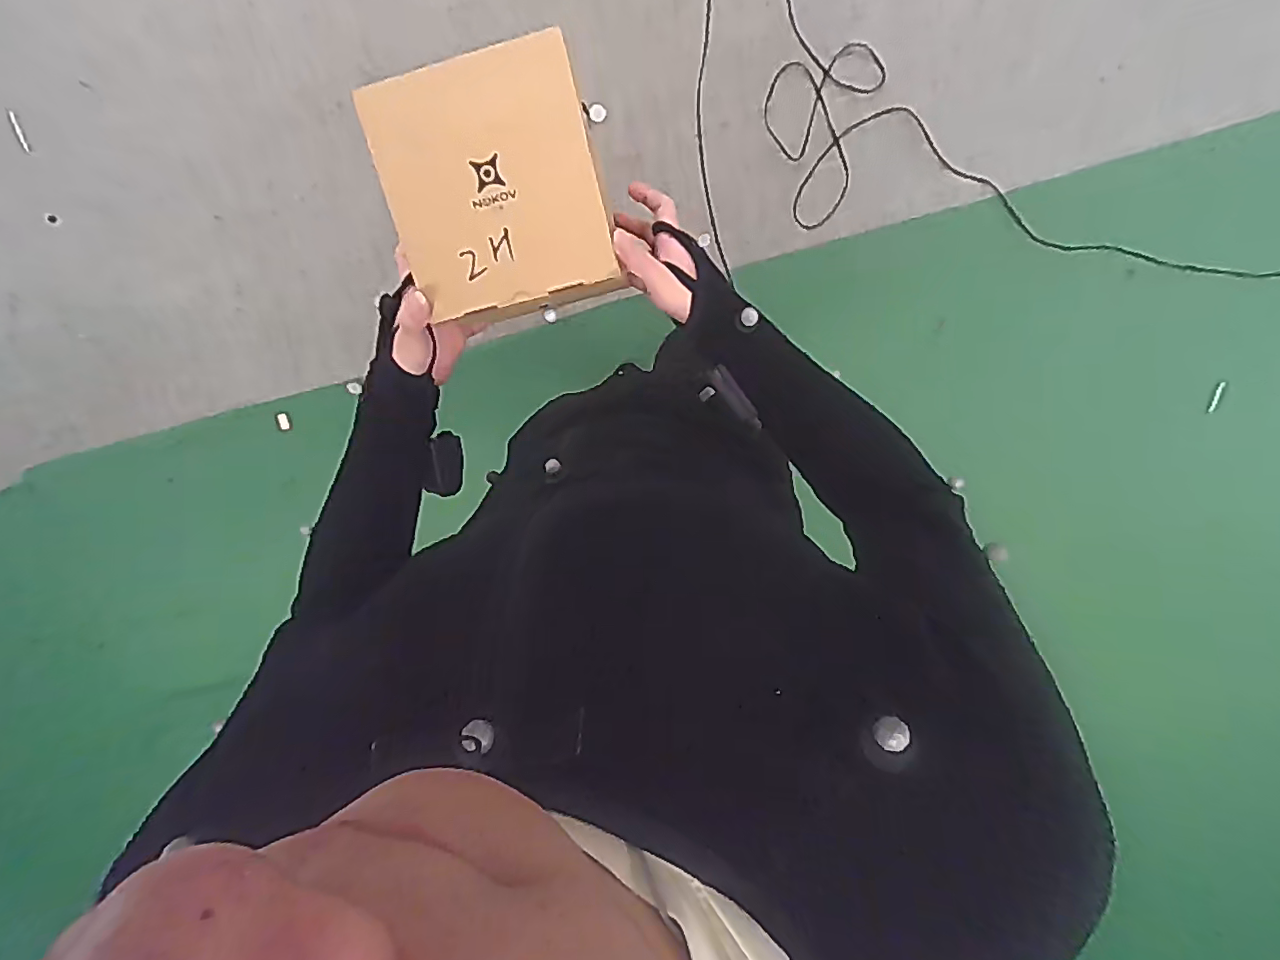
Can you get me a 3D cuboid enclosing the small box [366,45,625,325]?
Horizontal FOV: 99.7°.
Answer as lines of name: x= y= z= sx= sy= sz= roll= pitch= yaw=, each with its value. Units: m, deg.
small box: x=-0.113 y=-0.249 z=0.506 sx=0.168 sy=0.176 sz=0.179 roll=-12 pitch=106 yaw=5
